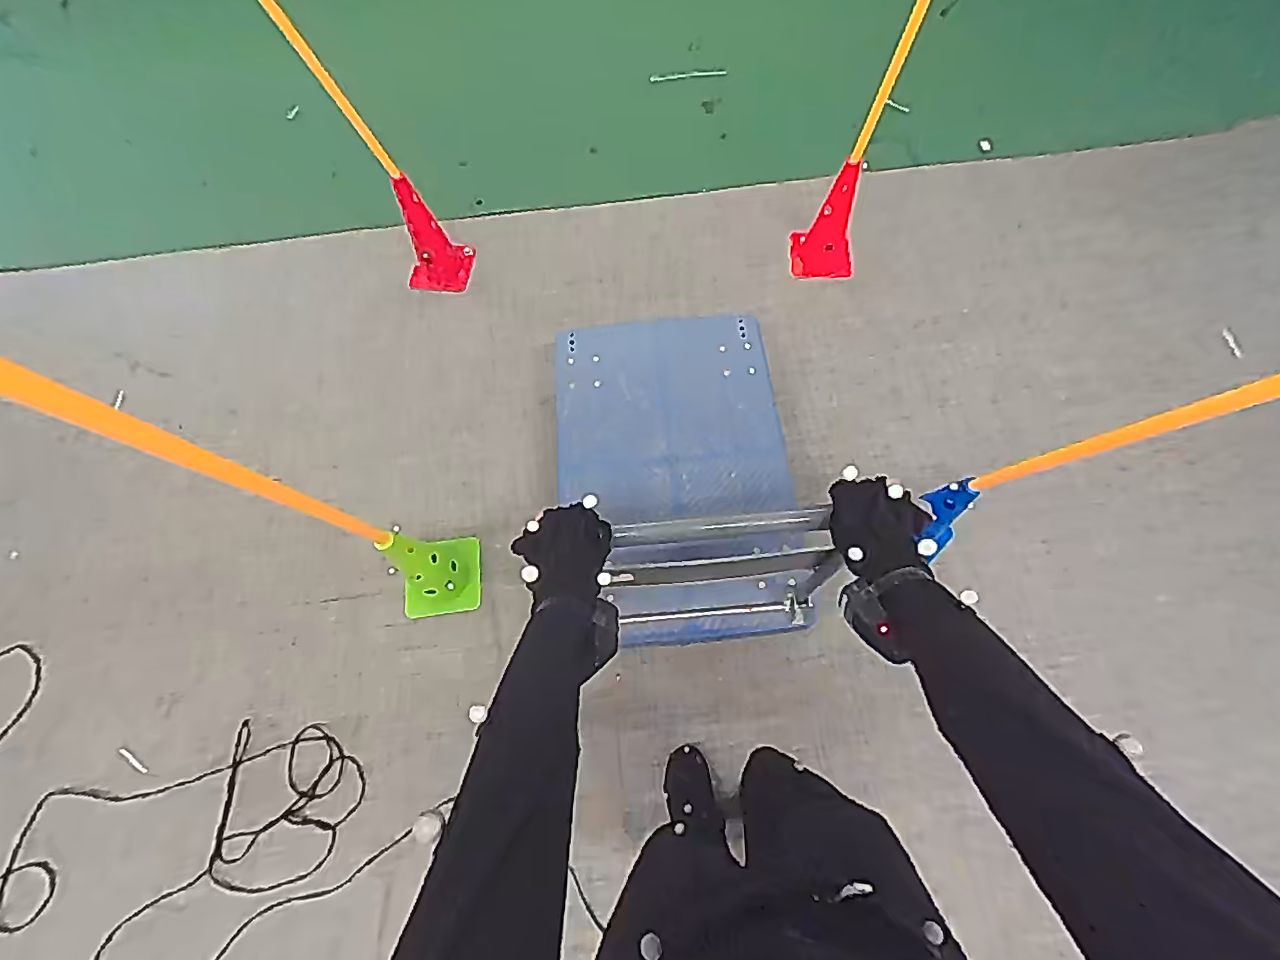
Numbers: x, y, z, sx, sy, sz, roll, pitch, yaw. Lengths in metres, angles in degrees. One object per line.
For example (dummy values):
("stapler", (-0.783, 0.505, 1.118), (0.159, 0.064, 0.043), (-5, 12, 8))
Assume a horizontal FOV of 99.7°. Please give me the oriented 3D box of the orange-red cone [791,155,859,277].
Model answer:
("orange-red cone", (0.602, -0.825, 1.665), (0.198, 0.360, 0.199), (3, 69, 4))
